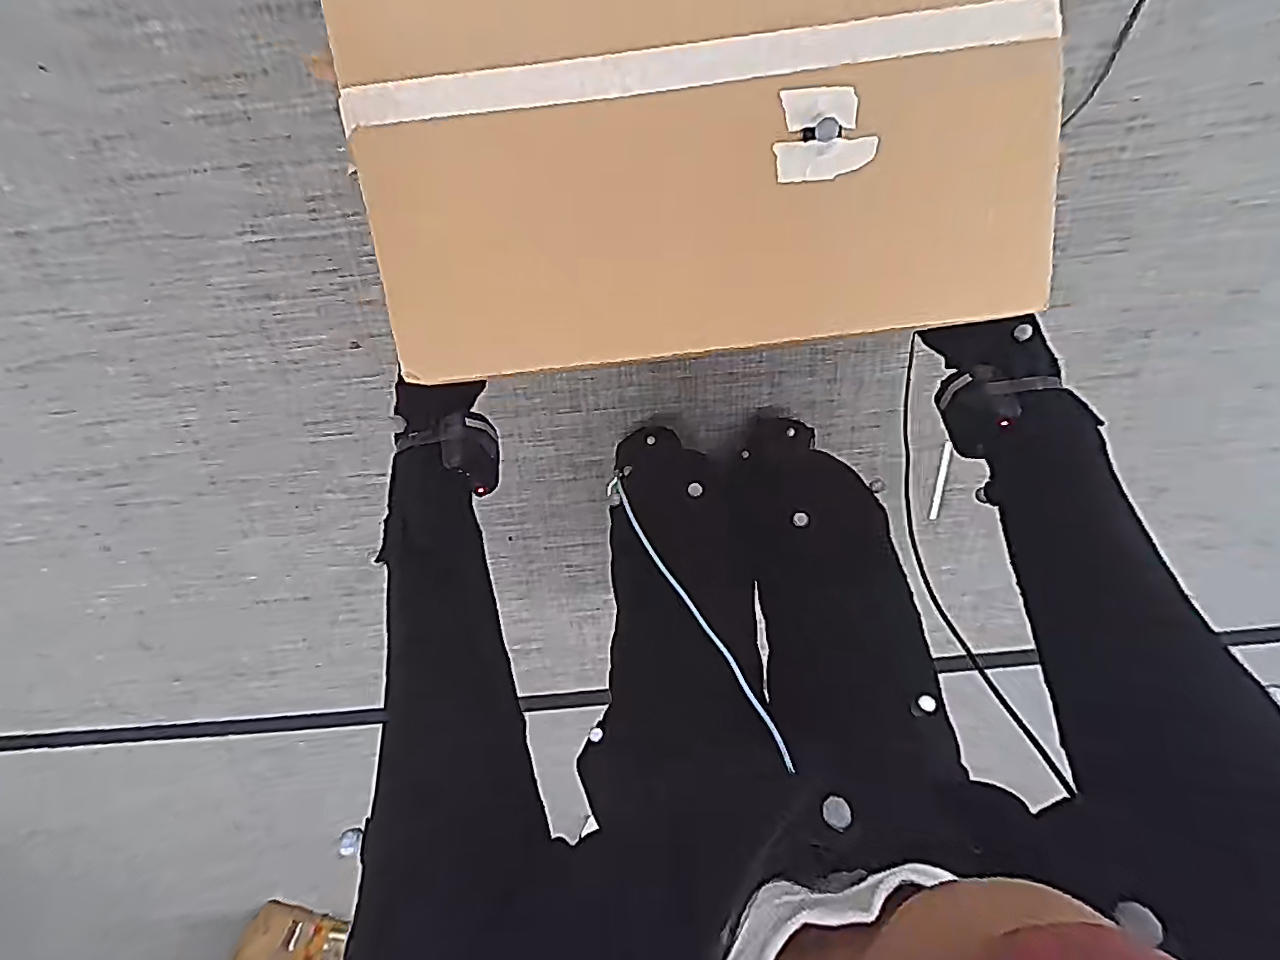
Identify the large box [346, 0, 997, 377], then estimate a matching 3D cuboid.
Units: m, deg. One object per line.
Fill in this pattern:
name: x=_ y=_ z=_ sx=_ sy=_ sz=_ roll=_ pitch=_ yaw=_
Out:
large box: x=0.023 y=-0.275 z=0.489 sx=0.408 sy=0.320 sz=0.320 roll=-7 pitch=102 yaw=1
